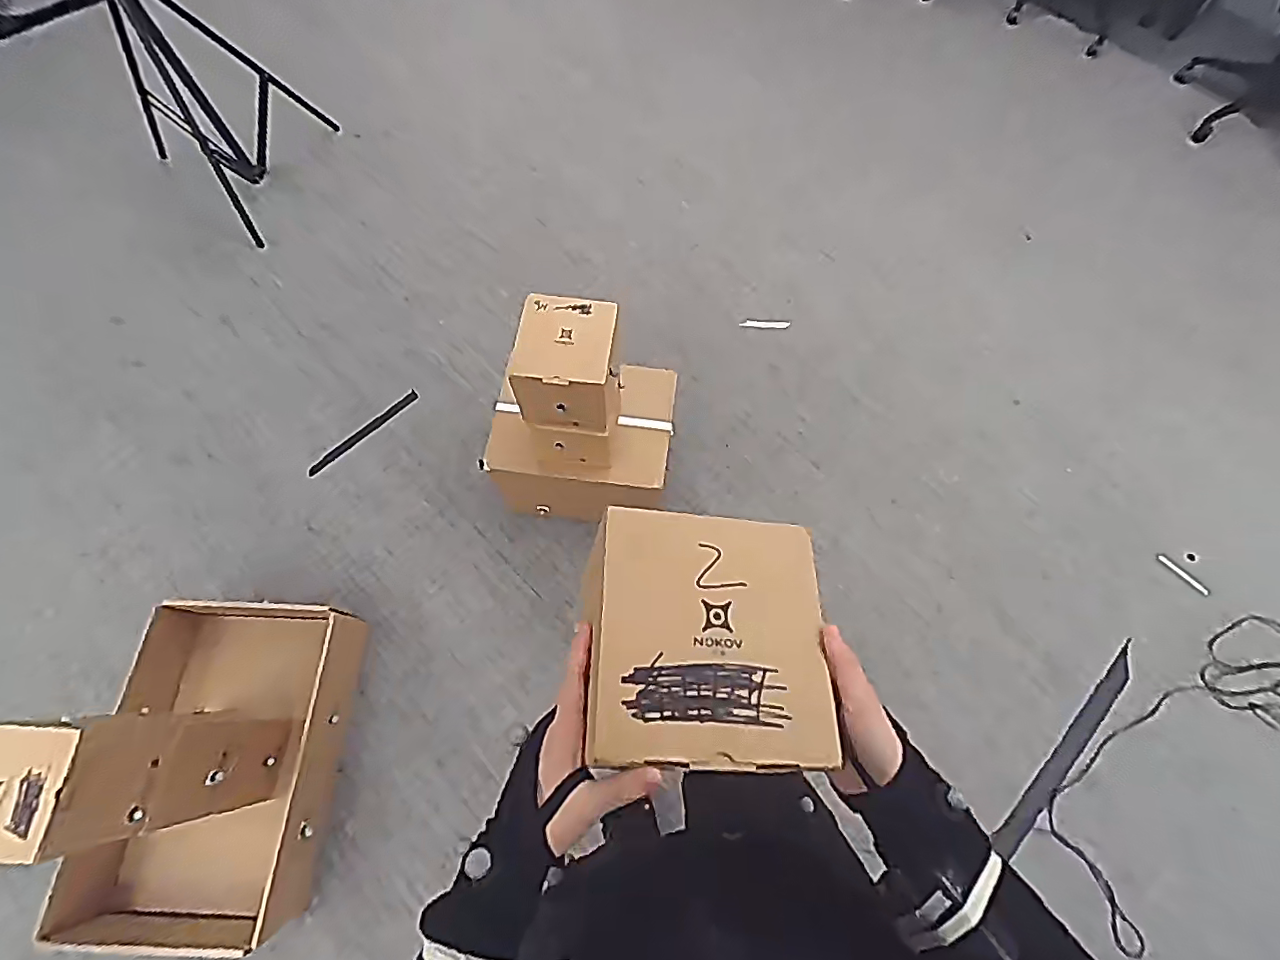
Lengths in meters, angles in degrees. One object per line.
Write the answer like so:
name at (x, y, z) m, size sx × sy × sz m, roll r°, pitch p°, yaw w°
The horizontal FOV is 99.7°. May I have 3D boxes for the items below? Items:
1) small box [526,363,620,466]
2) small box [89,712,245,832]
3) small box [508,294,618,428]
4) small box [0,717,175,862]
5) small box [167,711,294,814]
small box at (-0.133, -0.143, 1.151) m, size 0.168 × 0.176 × 0.179 m, roll 7°, pitch 68°, yaw 1°
small box at (-0.872, 0.515, 0.974) m, size 0.179 × 0.176 × 0.168 m, roll 4°, pitch 69°, yaw 0°
small box at (-0.131, -0.212, 1.002) m, size 0.168 × 0.176 × 0.179 m, roll 7°, pitch 69°, yaw 1°
small box at (-0.874, 0.455, 0.820) m, size 0.179 × 0.176 × 0.168 m, roll 2°, pitch 68°, yaw 1°
small box at (-0.873, 0.576, 1.123) m, size 0.179 × 0.176 × 0.168 m, roll 5°, pitch 69°, yaw 1°
